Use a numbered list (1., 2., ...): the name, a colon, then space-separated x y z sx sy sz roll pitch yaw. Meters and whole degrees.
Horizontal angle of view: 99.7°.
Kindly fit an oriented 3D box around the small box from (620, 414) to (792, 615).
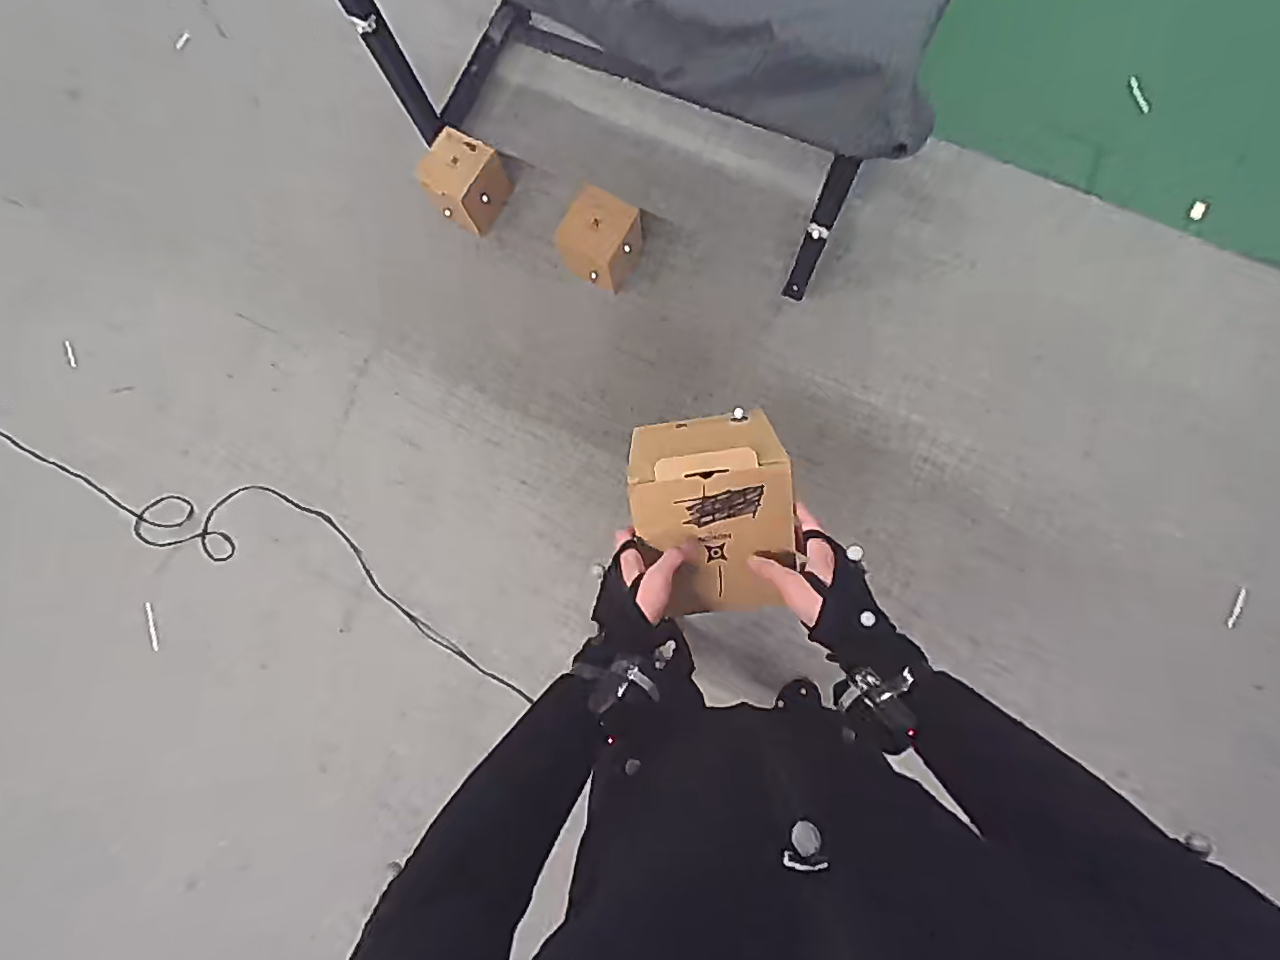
1. small box: 0.075 0.030 0.641 0.168 0.176 0.179 -9 114 7

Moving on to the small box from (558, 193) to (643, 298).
1. small box: -0.099 -0.638 1.490 0.168 0.176 0.179 28 83 8
